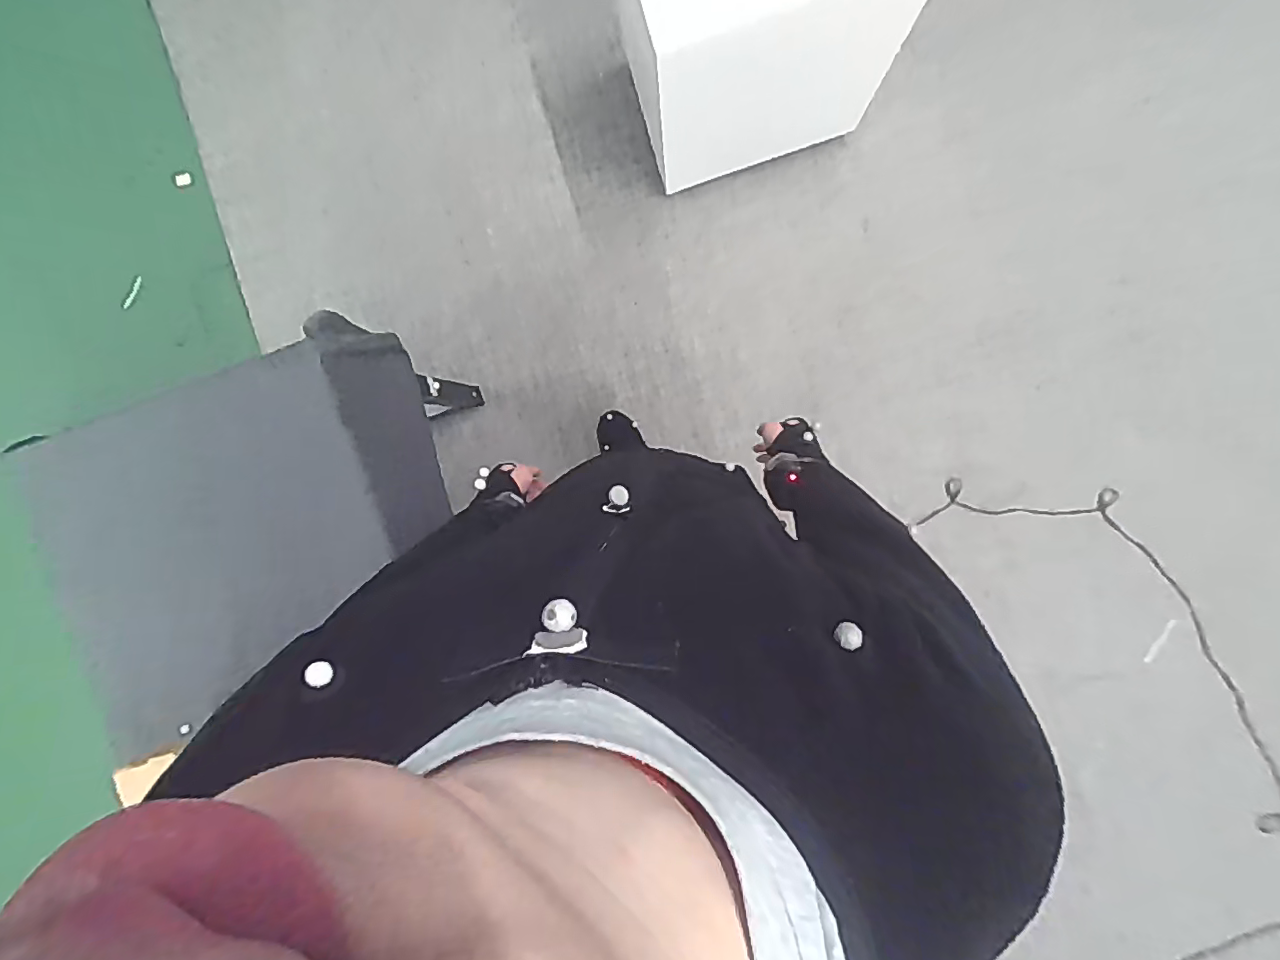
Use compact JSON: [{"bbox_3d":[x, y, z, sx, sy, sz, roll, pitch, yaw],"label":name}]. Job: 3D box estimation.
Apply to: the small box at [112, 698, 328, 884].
[{"bbox_3d":[-0.628,0.460,0.831,0.168,0.176,0.179,-18,95,7],"label":"small box"}]
